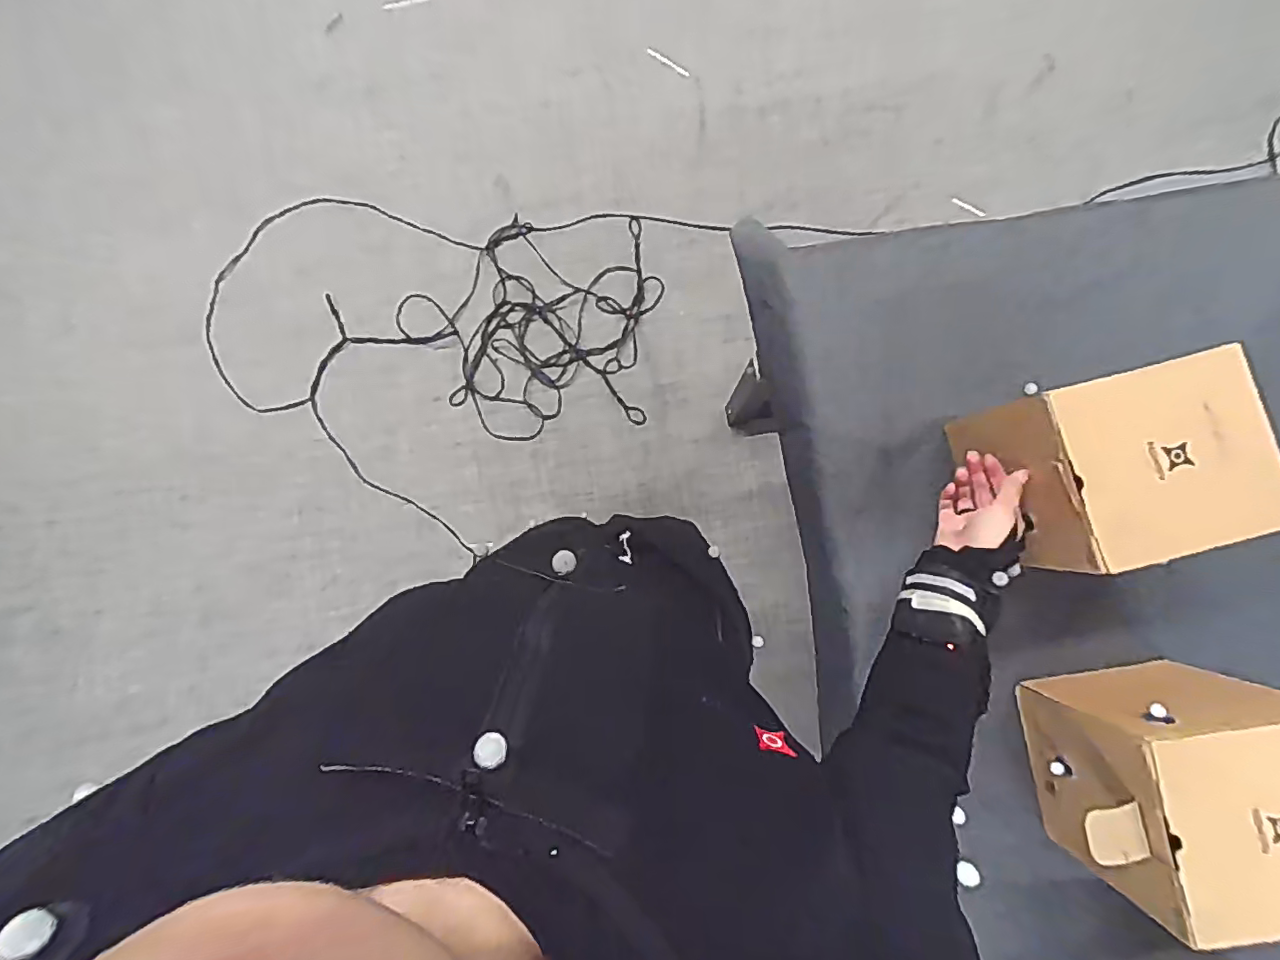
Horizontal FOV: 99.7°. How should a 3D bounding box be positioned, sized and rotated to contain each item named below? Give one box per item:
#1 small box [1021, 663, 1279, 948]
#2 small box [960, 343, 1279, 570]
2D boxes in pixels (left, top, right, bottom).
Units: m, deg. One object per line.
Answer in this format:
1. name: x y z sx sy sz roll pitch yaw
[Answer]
1. small box: 0.518 0.287 0.517 0.179 0.176 0.168 -10 85 1
2. small box: 0.458 -0.015 0.545 0.179 0.176 0.168 -15 86 -1
